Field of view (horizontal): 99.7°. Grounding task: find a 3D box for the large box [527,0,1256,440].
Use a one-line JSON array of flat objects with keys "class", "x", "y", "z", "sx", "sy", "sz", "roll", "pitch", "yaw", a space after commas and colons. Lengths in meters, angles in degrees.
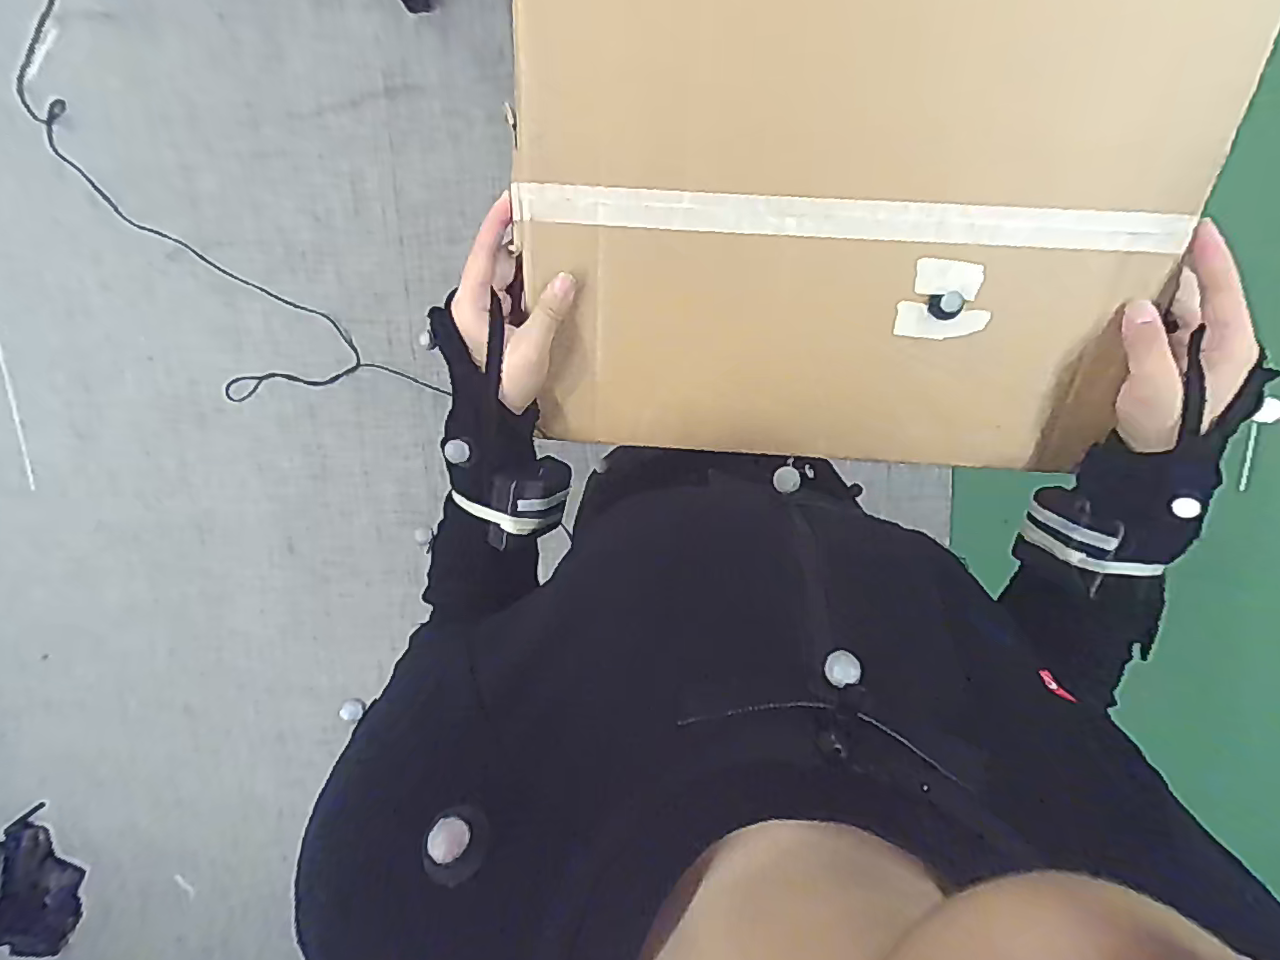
[{"class": "large box", "x": 0.134, "y": -0.234, "z": 0.473, "sx": 0.408, "sy": 0.320, "sz": 0.320, "roll": 3, "pitch": 114, "yaw": 0}]
